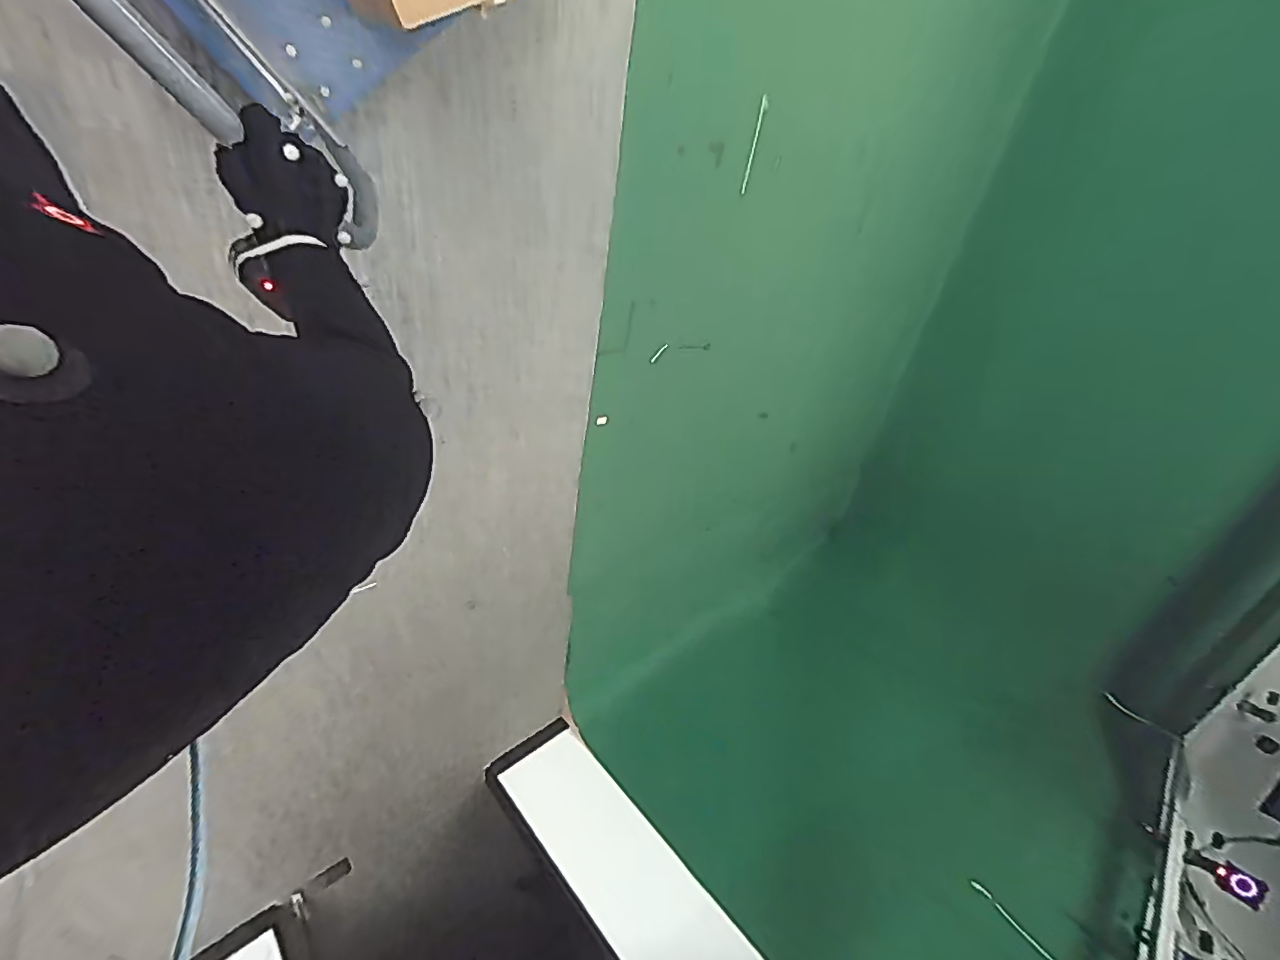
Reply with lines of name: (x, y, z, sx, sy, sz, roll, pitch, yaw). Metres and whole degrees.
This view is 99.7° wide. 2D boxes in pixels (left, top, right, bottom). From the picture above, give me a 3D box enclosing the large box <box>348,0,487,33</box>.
large box: (-0.346, -0.939, 0.764, 0.320, 0.320, 0.408, -33, 141, -14)
